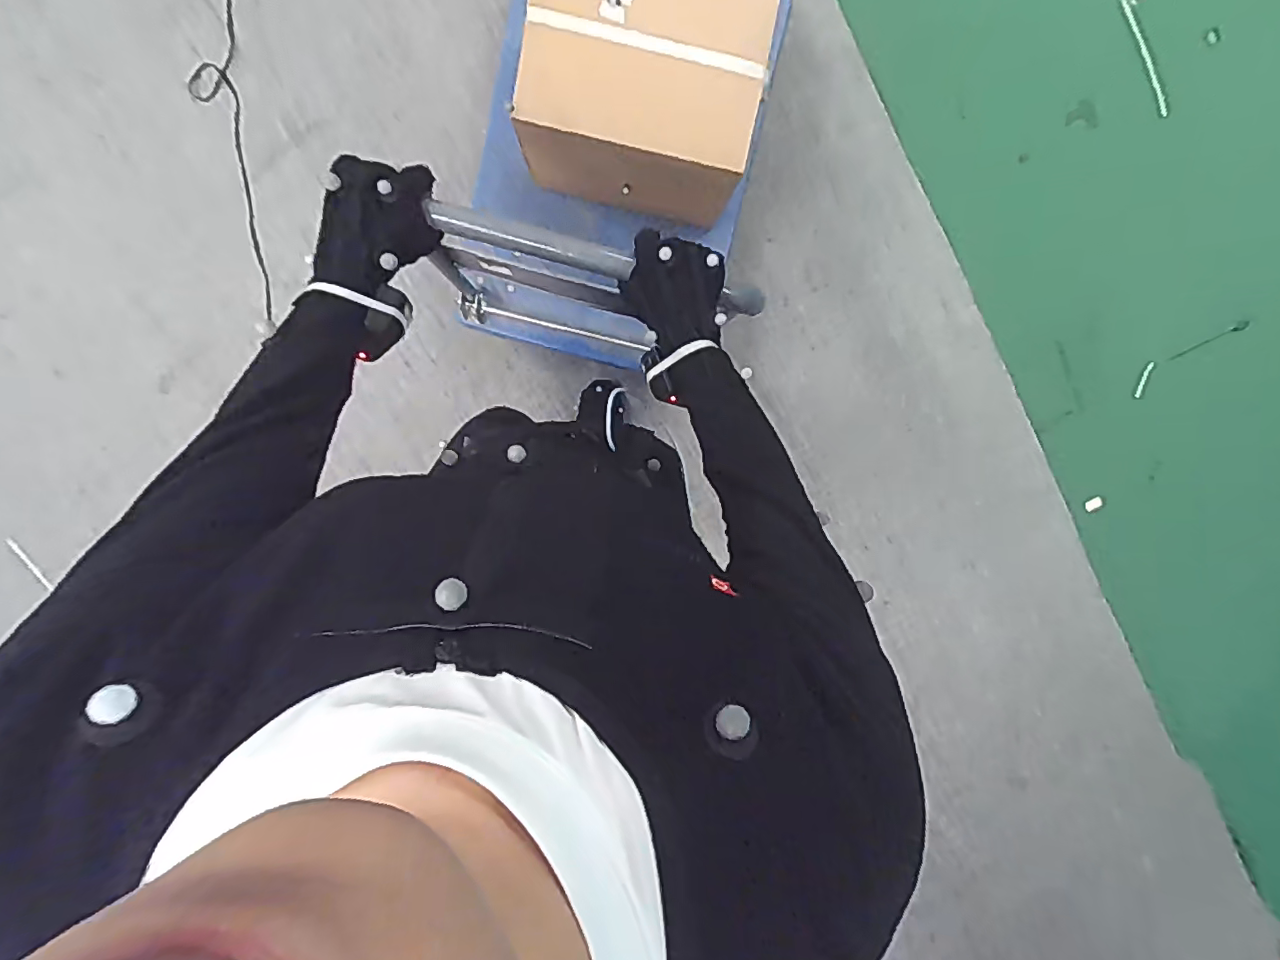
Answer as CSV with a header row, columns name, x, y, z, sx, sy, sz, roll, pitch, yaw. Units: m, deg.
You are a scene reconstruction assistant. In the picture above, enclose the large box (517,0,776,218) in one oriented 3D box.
name,x,y,z,sx,sy,sz,roll,pitch,yaw
large box,0.009,-0.745,1.047,0.408,0.320,0.320,11,97,-4
